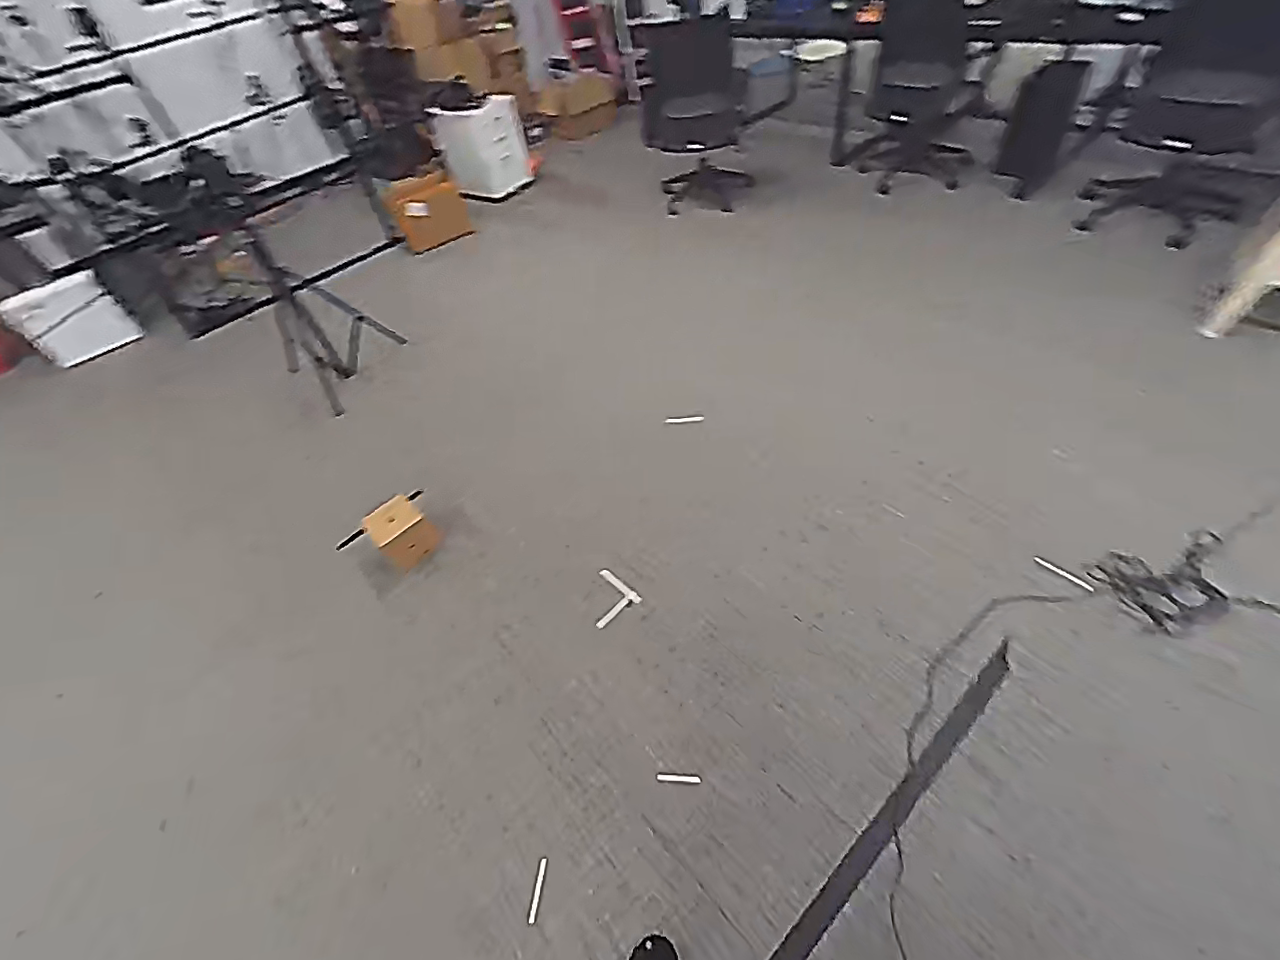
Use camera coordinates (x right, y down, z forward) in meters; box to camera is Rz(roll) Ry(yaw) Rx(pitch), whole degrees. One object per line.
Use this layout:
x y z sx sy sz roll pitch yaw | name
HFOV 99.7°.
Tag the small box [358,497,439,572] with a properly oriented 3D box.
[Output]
-0.847 0.200 1.912 0.179 0.176 0.168 32 61 34 | small box
